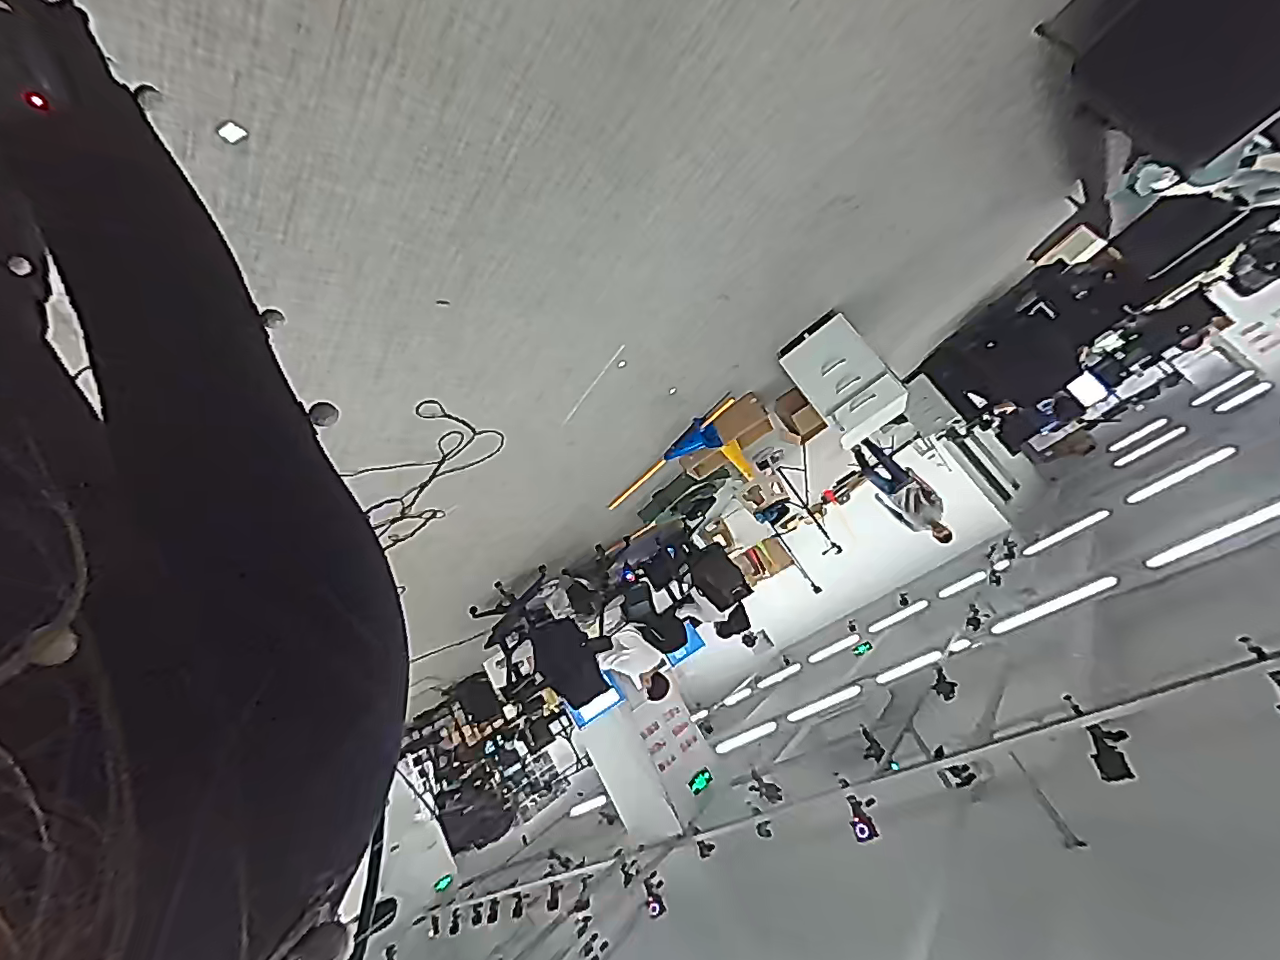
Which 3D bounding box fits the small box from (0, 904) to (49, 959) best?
[{"bbox_3d":[-1.573,1.179,1.317,0.168,0.176,0.179,-14,157,-50],"label":"small box"}]
